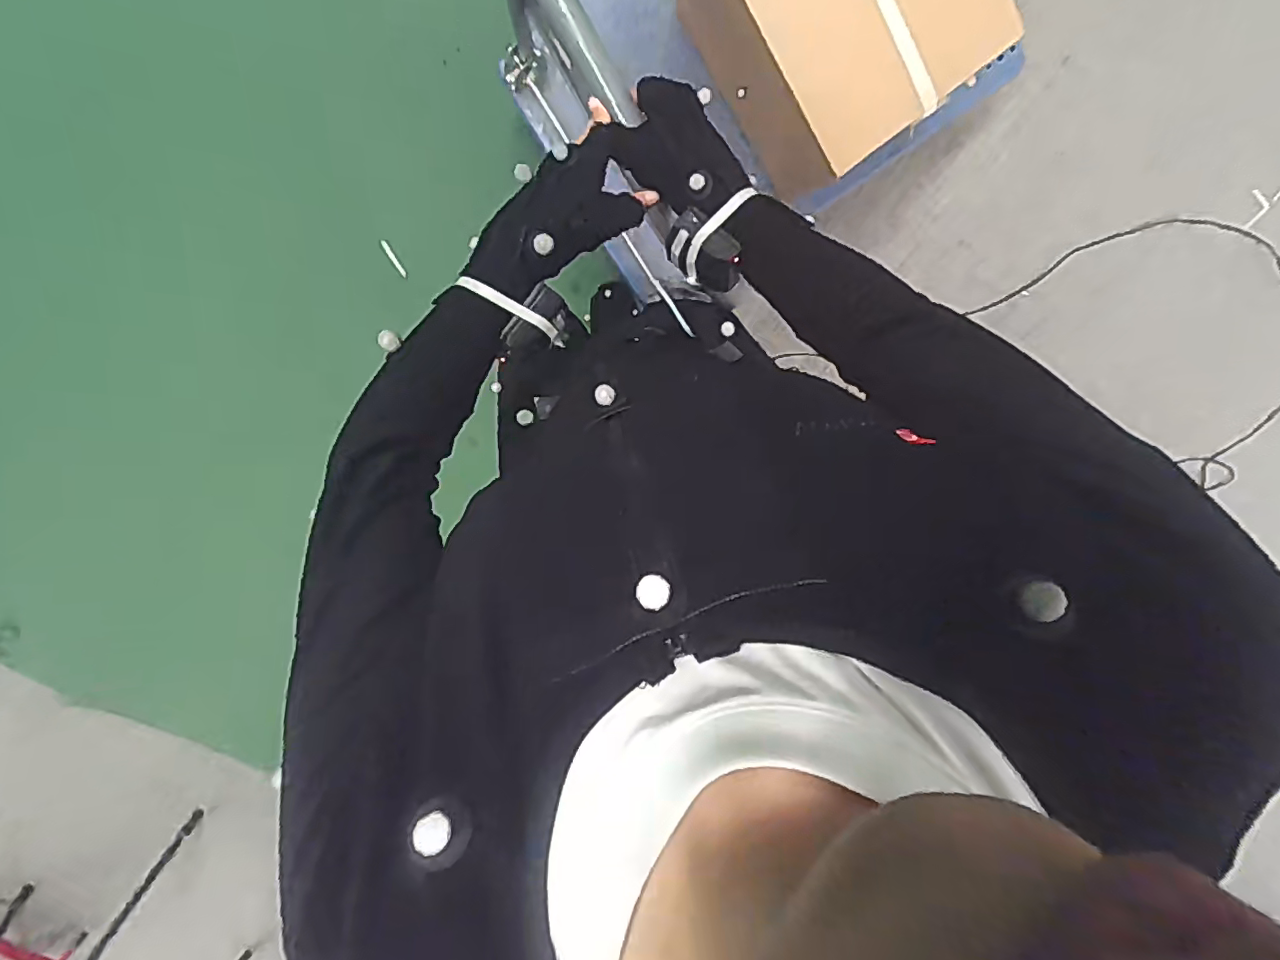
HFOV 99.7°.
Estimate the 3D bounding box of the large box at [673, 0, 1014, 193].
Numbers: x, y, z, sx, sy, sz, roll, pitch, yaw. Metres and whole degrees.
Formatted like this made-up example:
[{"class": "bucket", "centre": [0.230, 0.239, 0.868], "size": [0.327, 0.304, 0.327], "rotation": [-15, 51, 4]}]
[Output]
[{"class": "large box", "centre": [0.300, -0.767, 0.891], "size": [0.320, 0.320, 0.408], "rotation": [-35, 107, 10]}]
